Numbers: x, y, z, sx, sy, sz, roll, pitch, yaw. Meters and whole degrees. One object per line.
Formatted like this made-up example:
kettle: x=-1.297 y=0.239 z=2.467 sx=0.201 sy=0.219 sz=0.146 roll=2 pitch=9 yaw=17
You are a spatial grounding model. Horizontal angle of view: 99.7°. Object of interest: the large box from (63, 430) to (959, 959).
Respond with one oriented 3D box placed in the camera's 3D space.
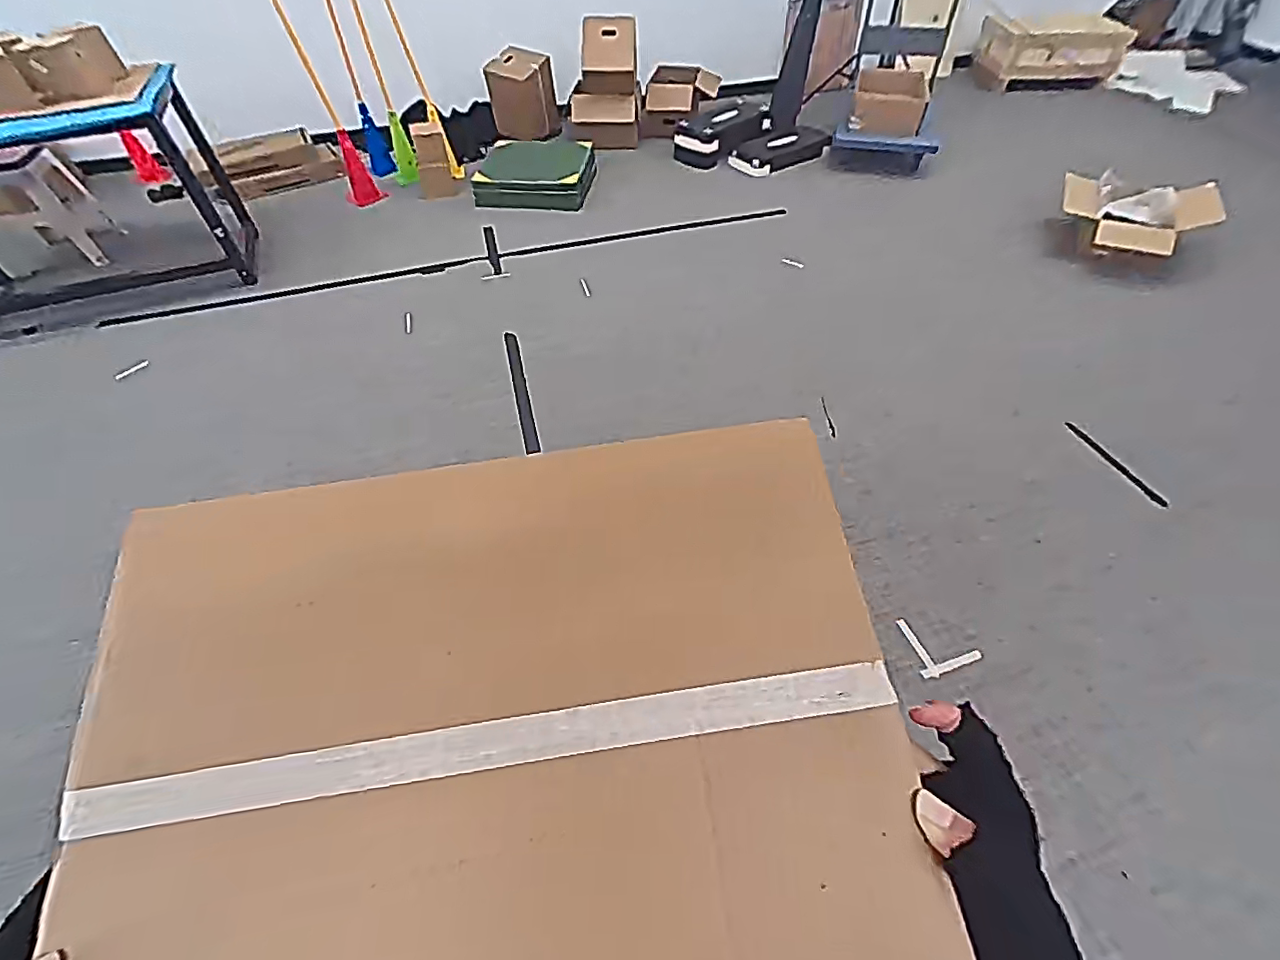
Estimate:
large box: x=-0.071 y=0.195 z=0.414 sx=0.408 sy=0.320 sz=0.320 roll=-8 pitch=68 yaw=-2
